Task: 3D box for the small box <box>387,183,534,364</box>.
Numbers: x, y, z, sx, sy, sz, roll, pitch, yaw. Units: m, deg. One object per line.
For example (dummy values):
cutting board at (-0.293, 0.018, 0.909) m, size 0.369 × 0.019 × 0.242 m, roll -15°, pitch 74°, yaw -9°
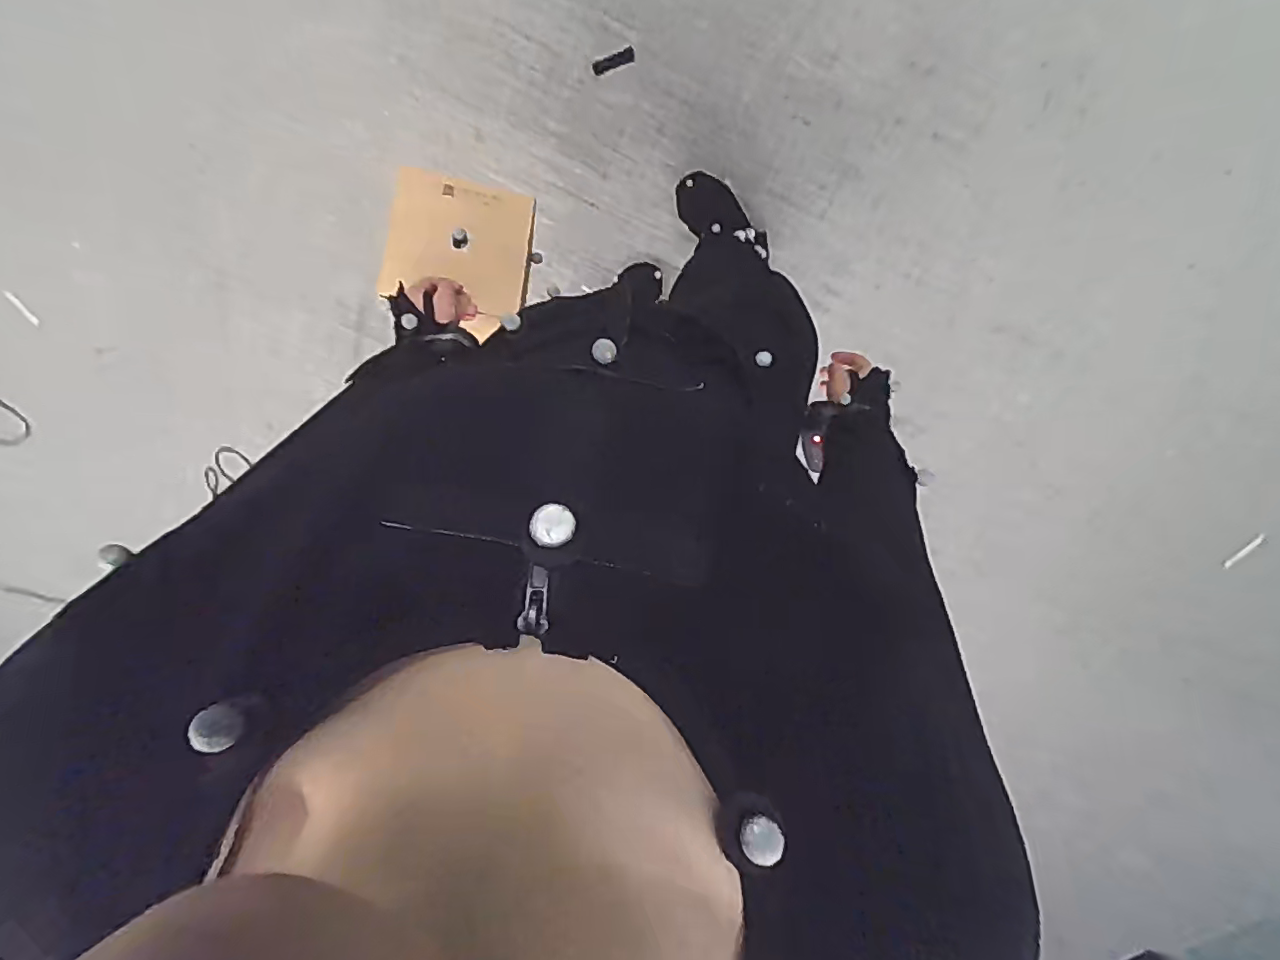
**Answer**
small box at (-0.239, -0.275, 0.748) m, size 0.168 × 0.179 × 0.176 m, roll 5°, pitch 85°, yaw -12°
